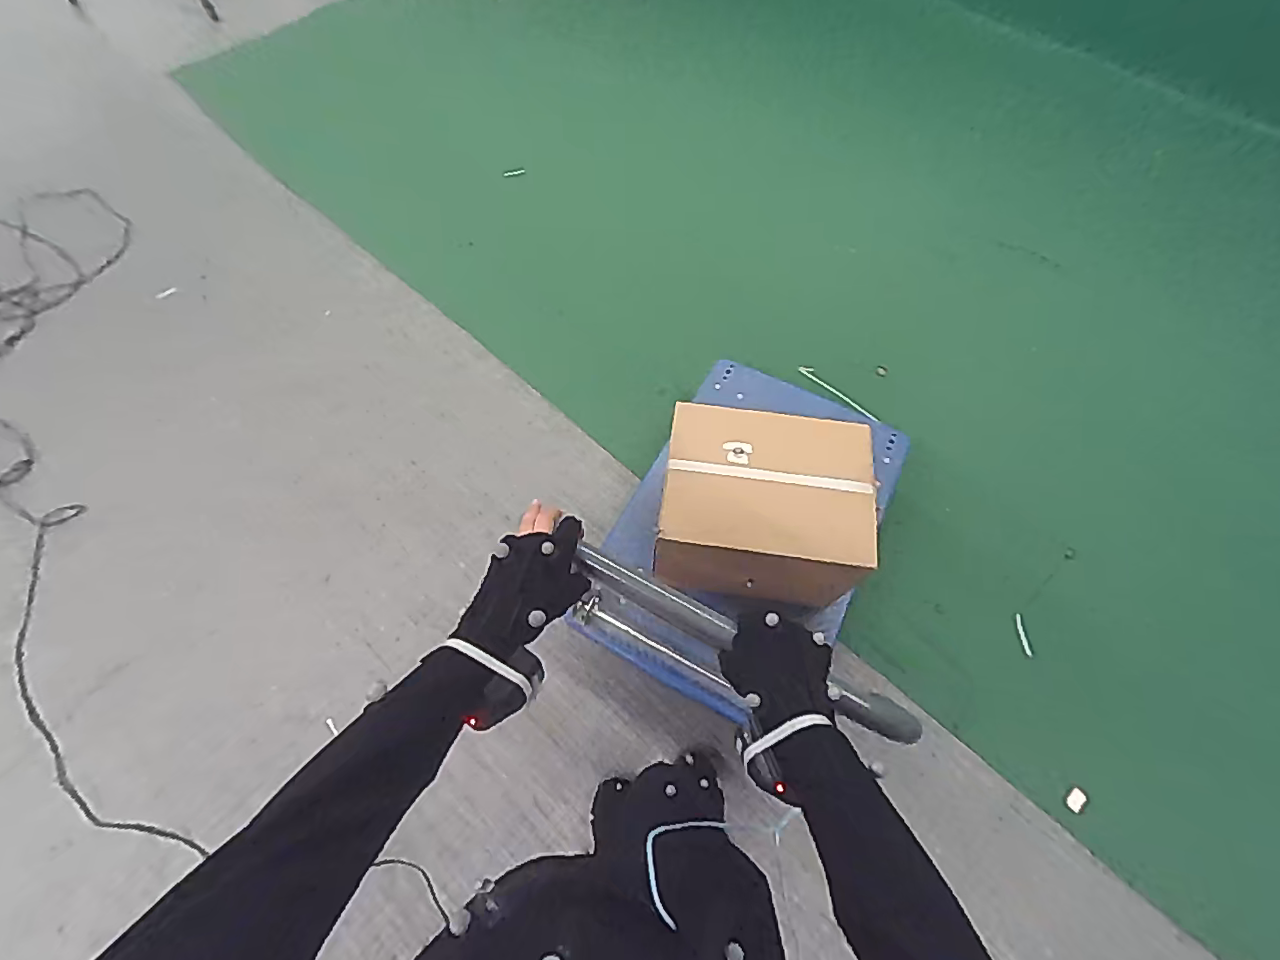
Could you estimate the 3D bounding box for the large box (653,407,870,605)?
[{"bbox_3d":[0.249,0.071,1.194,0.408,0.320,0.320,8,64,5],"label":"large box"}]
